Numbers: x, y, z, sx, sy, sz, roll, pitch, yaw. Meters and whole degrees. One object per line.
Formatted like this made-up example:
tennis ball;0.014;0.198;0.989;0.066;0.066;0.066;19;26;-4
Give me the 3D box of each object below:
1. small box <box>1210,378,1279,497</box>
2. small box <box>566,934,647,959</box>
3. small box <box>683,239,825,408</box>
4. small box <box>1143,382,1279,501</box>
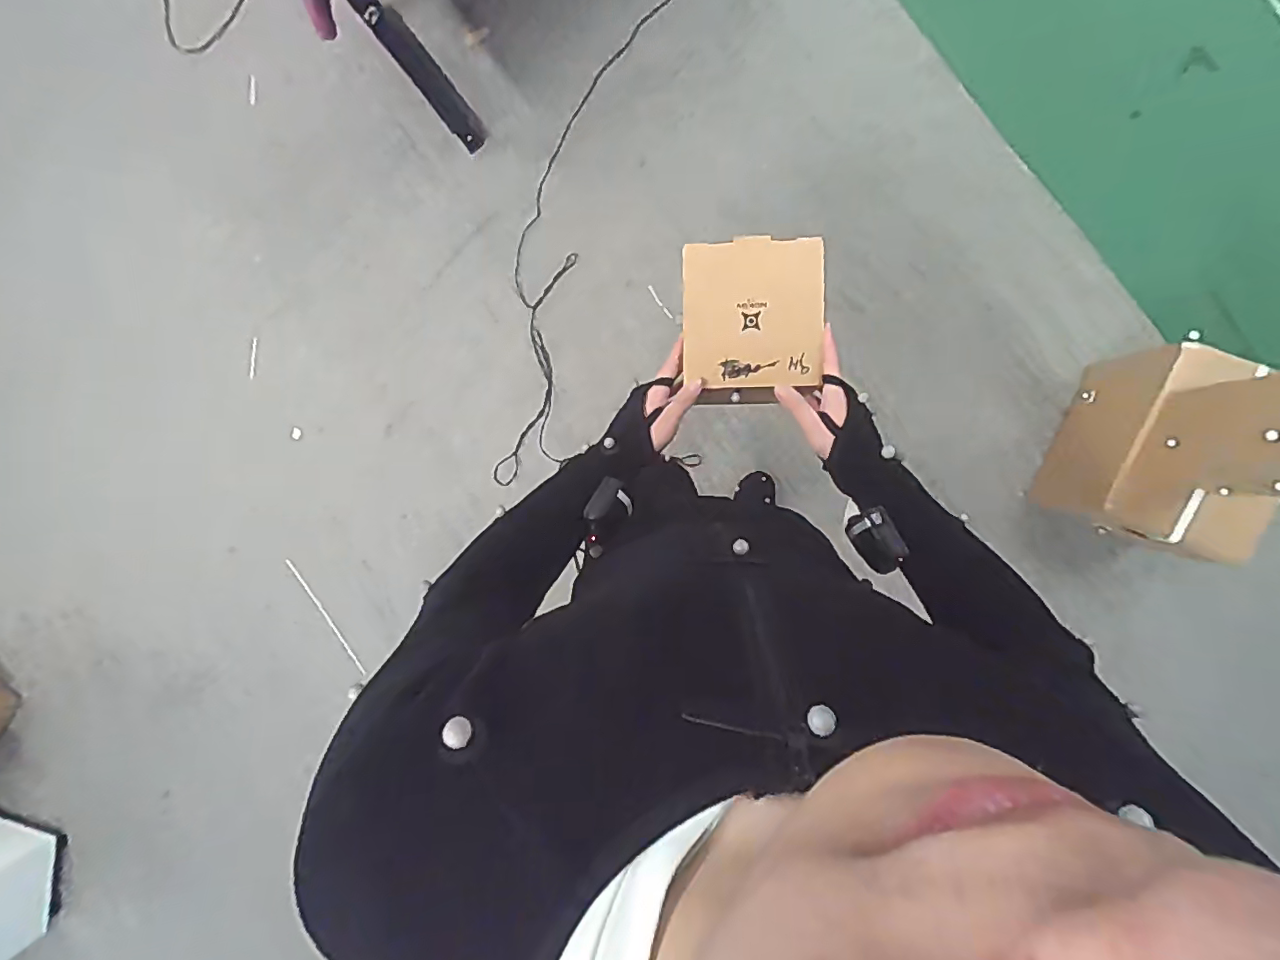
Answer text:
small box;1.139;-0.065;0.907;0.168;0.176;0.179;26;96;6
small box;-0.083;1.122;1.154;0.179;0.176;0.168;0;92;7
small box;0.141;-0.193;0.712;0.168;0.176;0.179;-1;92;7
small box;1.165;-0.072;1.069;0.168;0.176;0.179;24;95;7
